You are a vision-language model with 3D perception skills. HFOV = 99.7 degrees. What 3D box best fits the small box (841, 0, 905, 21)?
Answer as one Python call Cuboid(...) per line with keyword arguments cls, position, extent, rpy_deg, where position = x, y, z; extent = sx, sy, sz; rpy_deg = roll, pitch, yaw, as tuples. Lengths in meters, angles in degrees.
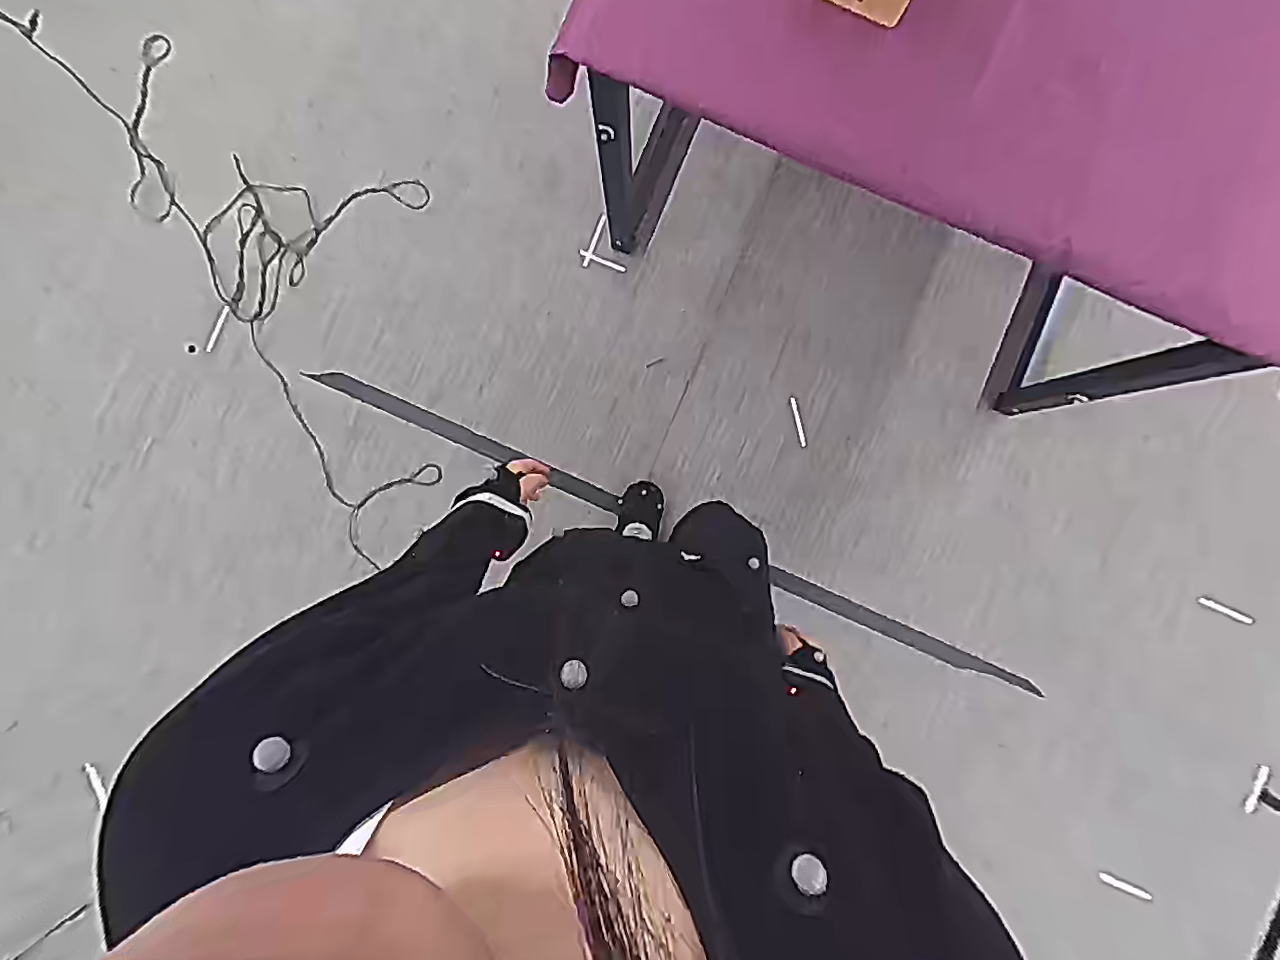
Cuboid(cls="small box", position=(0.313, -0.748, 0.683), extent=(0.168, 0.176, 0.179), rpy_deg=(24, 89, 0))
